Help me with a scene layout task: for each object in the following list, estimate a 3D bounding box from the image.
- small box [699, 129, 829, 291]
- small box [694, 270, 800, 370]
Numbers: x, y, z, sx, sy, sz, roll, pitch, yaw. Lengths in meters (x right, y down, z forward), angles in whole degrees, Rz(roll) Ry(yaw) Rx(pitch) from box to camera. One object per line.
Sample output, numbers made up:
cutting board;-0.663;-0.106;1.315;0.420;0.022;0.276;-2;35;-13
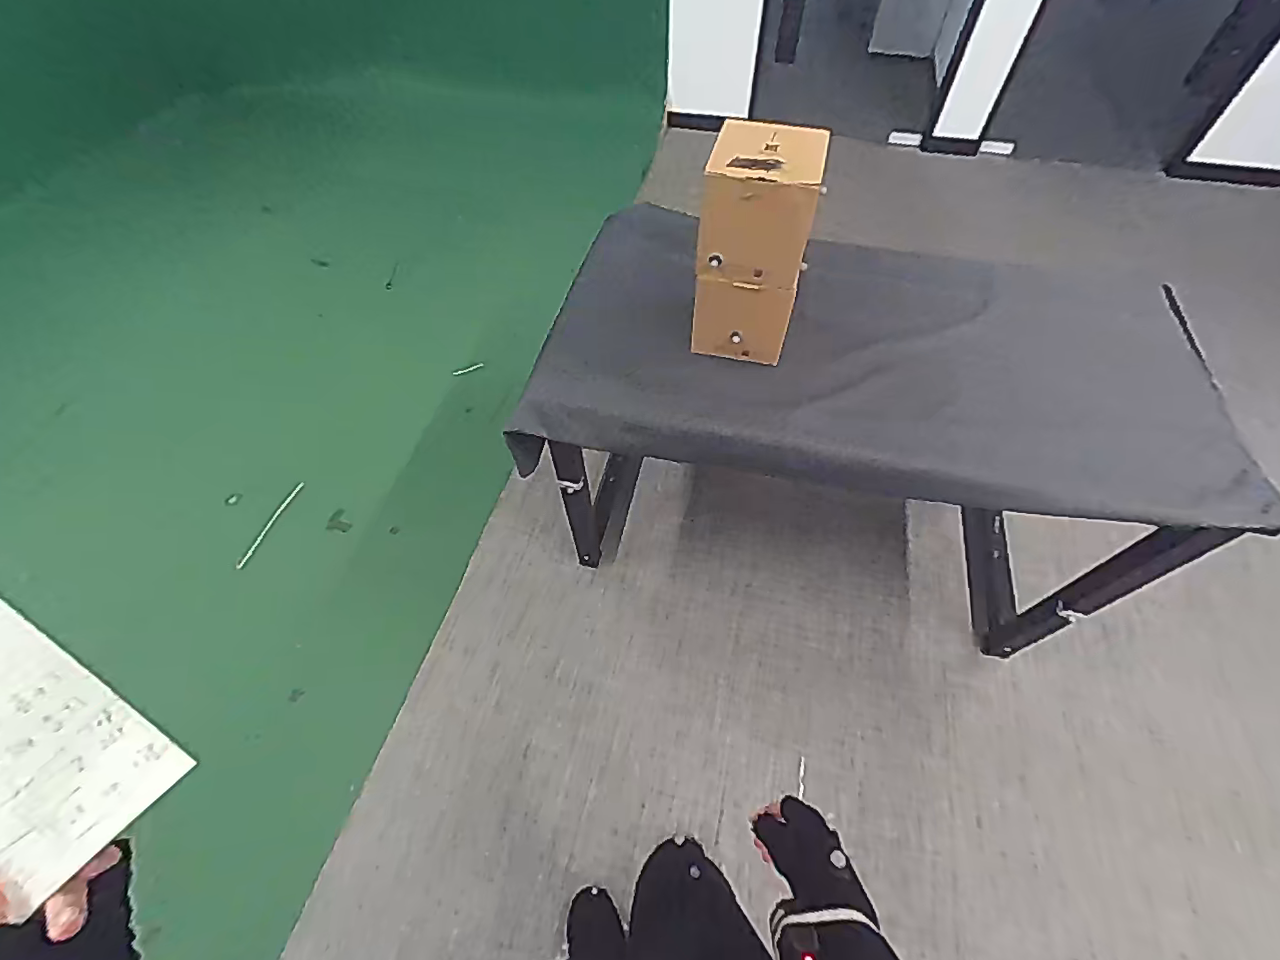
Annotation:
small box;0.194;-0.432;0.873;0.168;0.176;0.179;13;55;9
small box;0.197;-0.335;1.005;0.168;0.176;0.179;11;56;9
